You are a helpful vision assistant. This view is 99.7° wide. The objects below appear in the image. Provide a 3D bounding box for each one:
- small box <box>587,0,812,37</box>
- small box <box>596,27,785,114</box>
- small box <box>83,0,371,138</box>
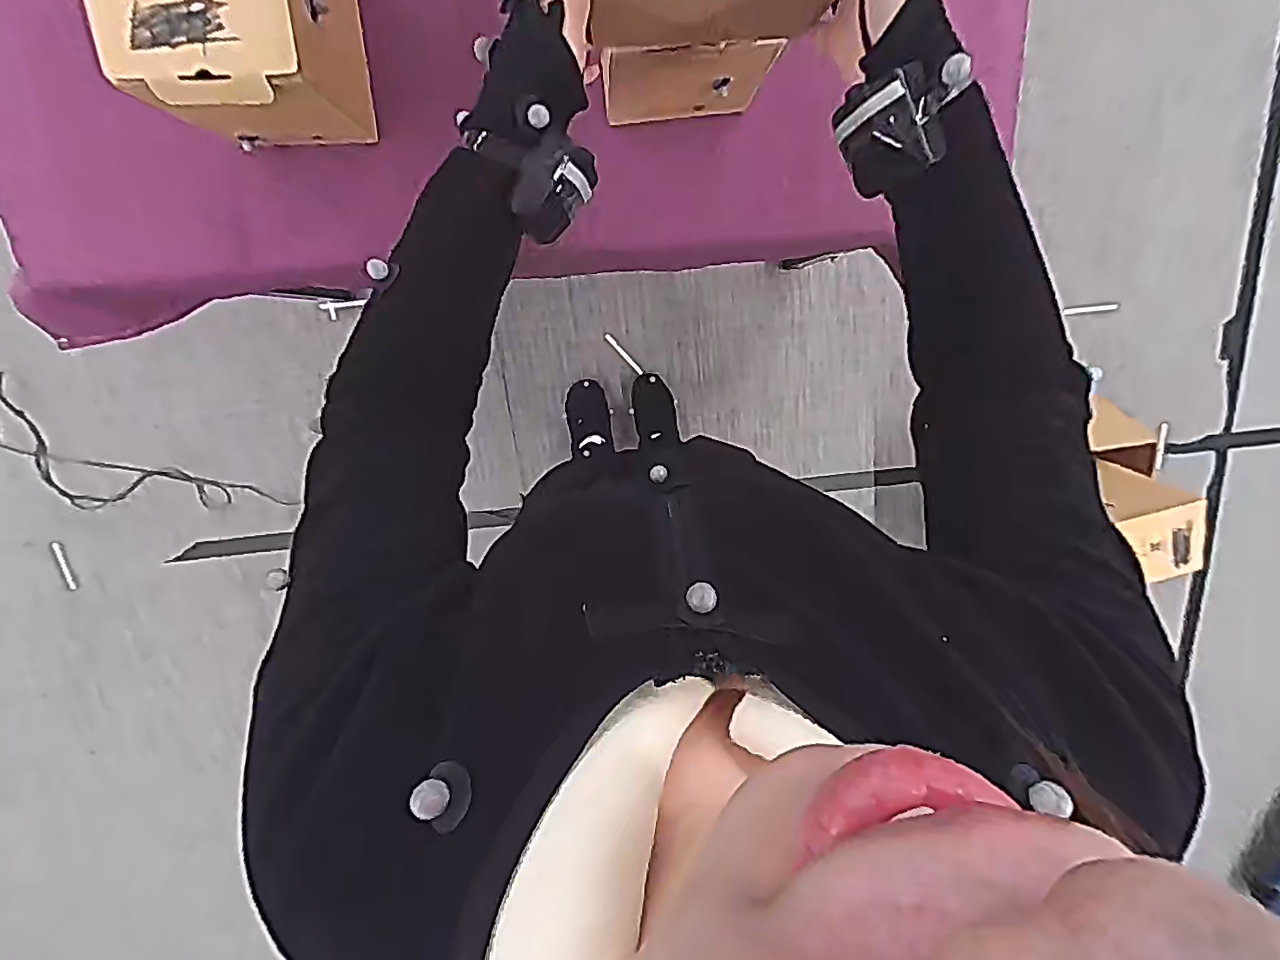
[{"bbox_3d":[0.046,-0.404,0.331,0.179,0.176,0.168,-4,111,-2],"label":"small box"},{"bbox_3d":[0.038,-0.491,0.539,0.168,0.176,0.179,-7,105,-3],"label":"small box"},{"bbox_3d":[-0.383,-0.450,0.520,0.168,0.176,0.179,-3,105,-3],"label":"small box"}]
